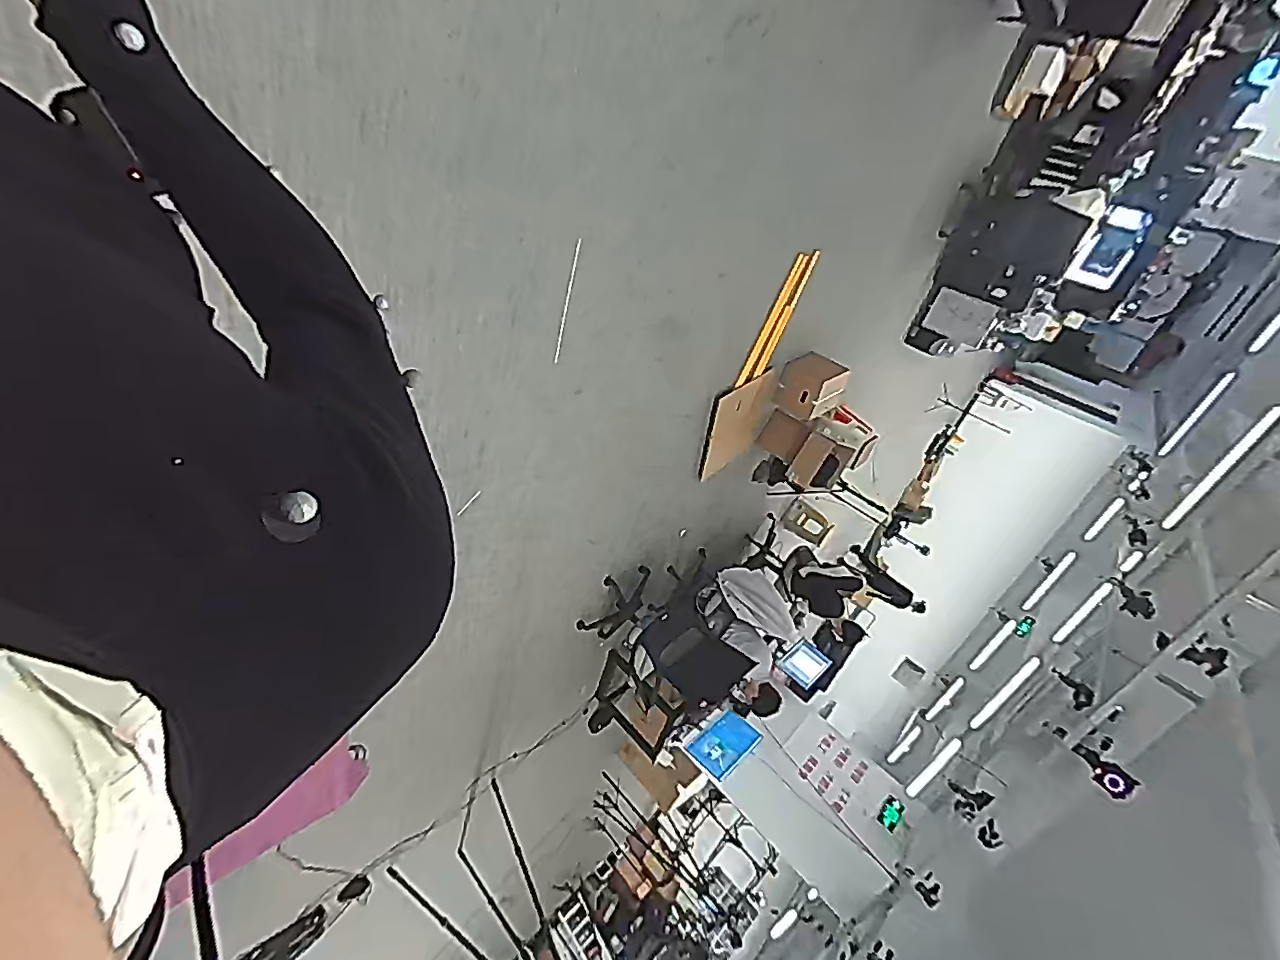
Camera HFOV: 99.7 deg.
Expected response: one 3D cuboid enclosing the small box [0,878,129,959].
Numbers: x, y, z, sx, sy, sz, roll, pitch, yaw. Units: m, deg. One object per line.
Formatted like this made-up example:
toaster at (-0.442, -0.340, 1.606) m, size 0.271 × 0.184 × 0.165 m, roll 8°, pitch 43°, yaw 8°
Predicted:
small box at (-1.085, 0.901, 0.999) m, size 0.179 × 0.176 × 0.168 m, roll -20°, pitch 138°, yaw -44°
